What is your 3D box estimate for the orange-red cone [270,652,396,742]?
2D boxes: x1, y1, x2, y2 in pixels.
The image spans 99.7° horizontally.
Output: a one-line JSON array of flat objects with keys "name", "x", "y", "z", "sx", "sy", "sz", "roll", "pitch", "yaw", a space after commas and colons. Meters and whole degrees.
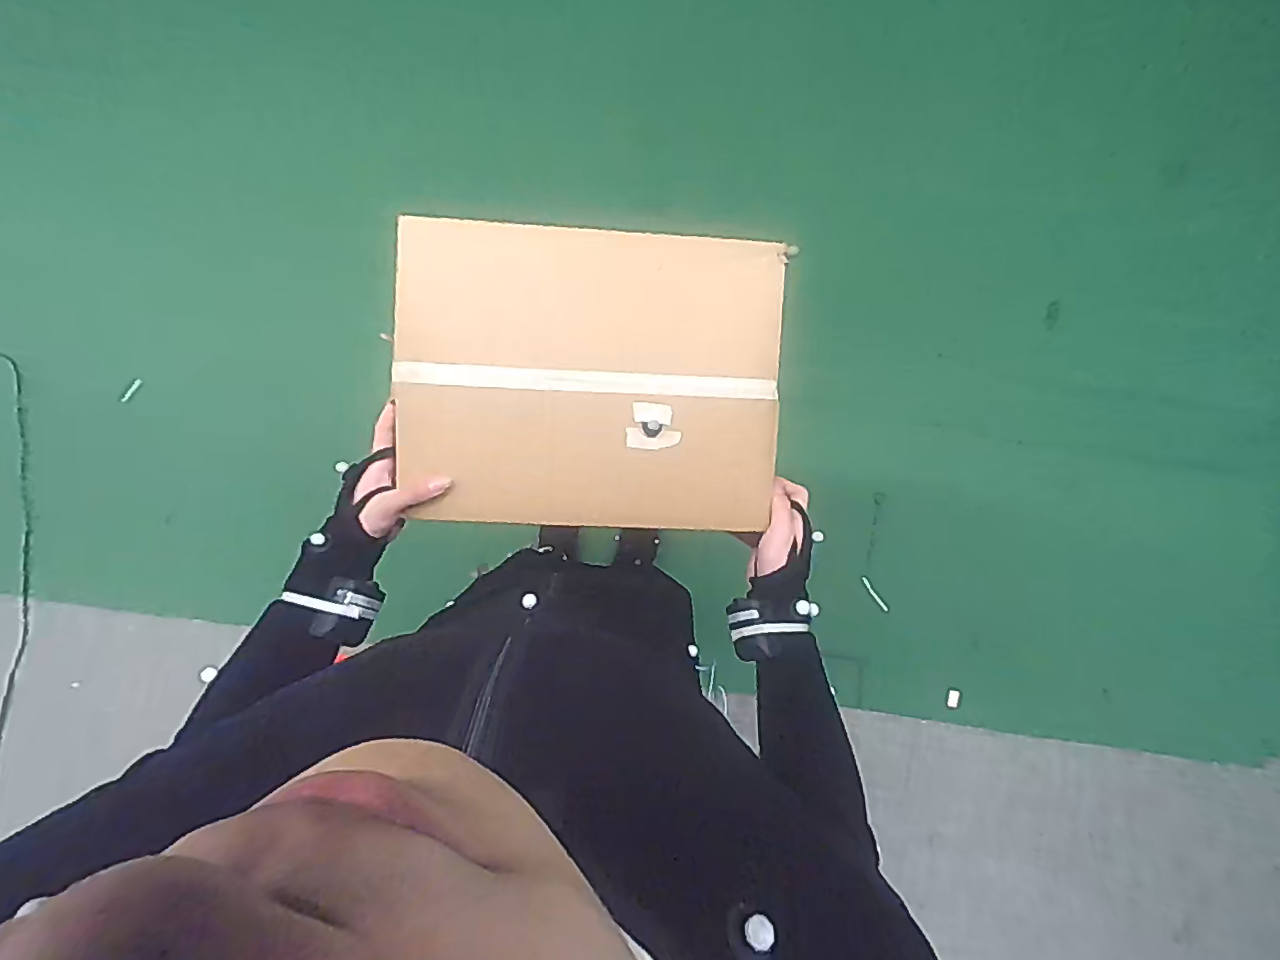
[{"name": "orange-red cone", "x": -0.853, "y": 0.616, "z": 1.449, "sx": 0.199, "sy": 0.360, "sz": 0.198, "roll": 15, "pitch": 85, "yaw": 3}]

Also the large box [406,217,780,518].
[{"name": "large box", "x": -0.062, "y": -0.125, "z": 0.732, "sx": 0.408, "sy": 0.320, "sz": 0.320, "roll": 2, "pitch": 95, "yaw": -5}]
